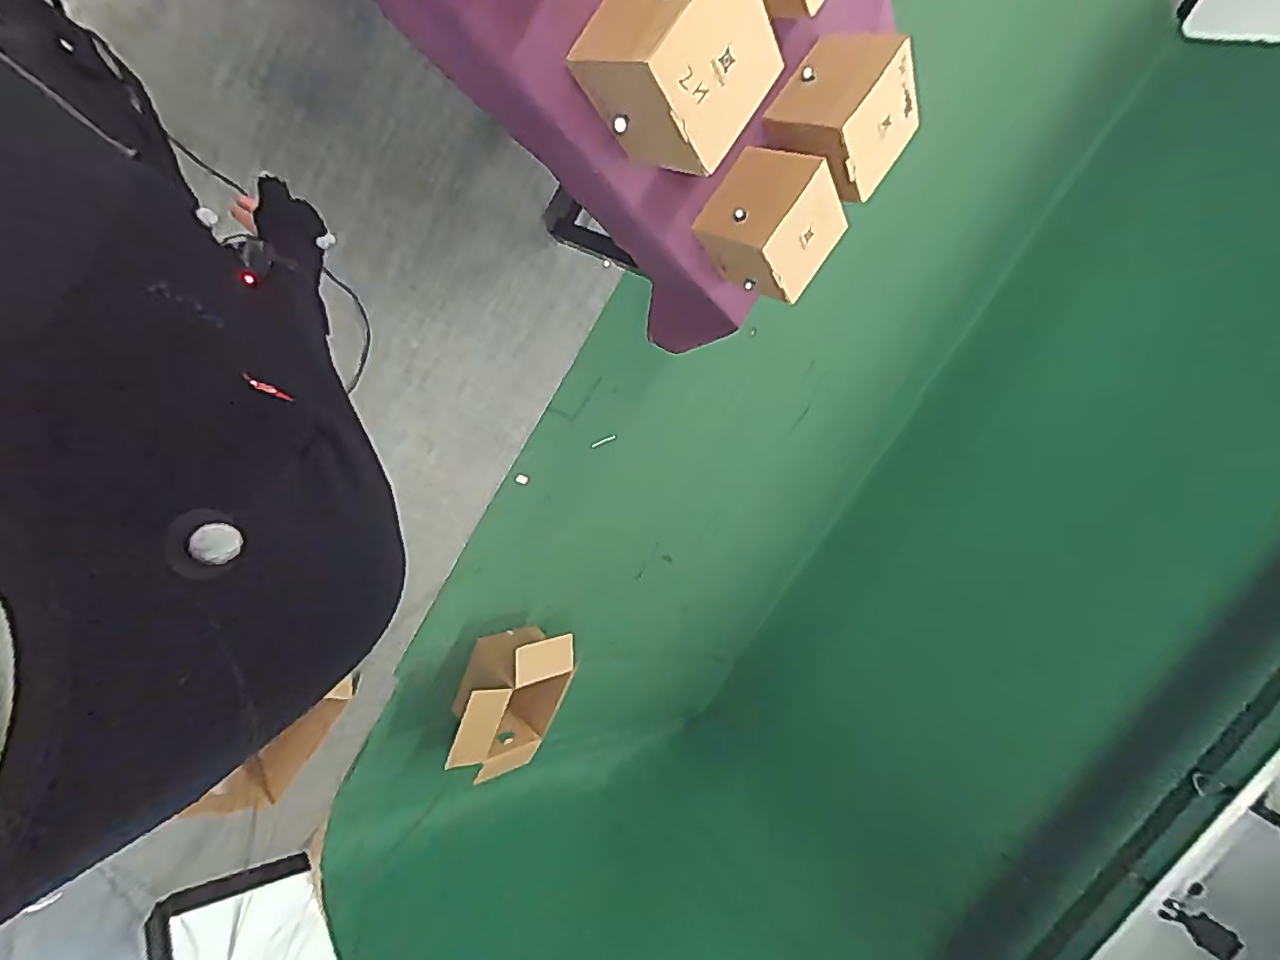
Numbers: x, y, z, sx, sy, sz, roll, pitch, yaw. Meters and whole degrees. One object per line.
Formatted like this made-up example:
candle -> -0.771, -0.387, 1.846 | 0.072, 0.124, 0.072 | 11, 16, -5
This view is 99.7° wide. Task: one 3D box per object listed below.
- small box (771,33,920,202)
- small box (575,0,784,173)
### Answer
small box -> 0.351, -0.628, 0.942 | 0.179, 0.176, 0.168 | -53, 144, 2
small box -> 0.049, -0.539, 0.695 | 0.179, 0.176, 0.168 | -55, 143, 3
